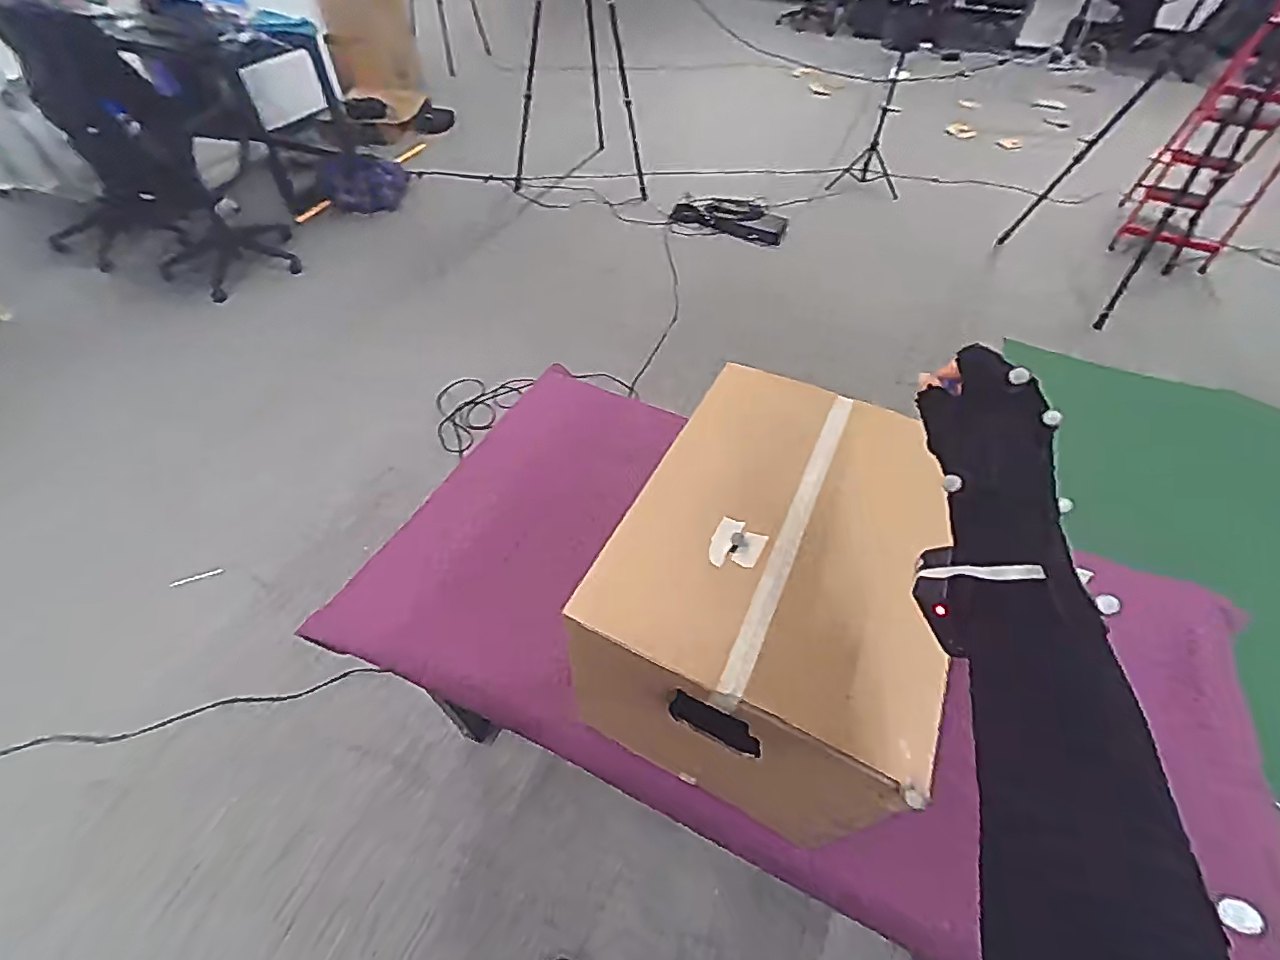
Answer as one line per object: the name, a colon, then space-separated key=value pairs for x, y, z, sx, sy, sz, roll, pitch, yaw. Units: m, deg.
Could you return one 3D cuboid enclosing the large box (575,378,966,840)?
large box: x=0.156 y=0.147 z=0.679 sx=0.320 sy=0.320 sz=0.408 roll=23 pitch=53 yaw=16
